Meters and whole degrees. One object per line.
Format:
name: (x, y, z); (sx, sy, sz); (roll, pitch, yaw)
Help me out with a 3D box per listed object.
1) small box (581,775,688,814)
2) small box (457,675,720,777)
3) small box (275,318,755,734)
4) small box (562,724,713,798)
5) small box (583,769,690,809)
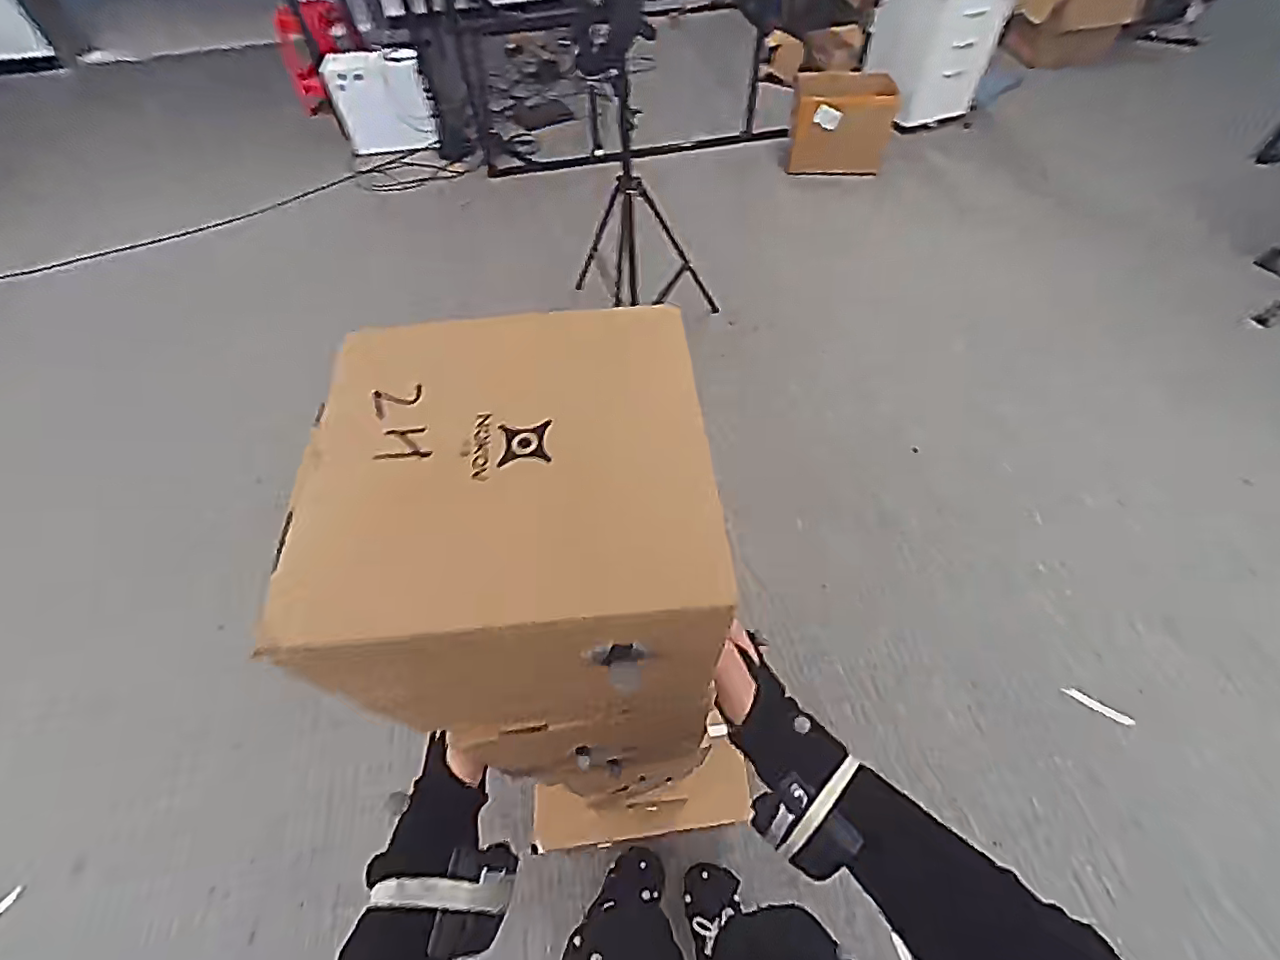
small box: (-0.011, 0.498, 0.976); (0.179, 0.176, 0.168); (-4, 56, -2)
small box: (-0.043, 0.124, 0.442); (0.168, 0.176, 0.179); (-10, 57, -5)
small box: (-0.050, 0.035, 0.304); (0.179, 0.176, 0.168); (-6, 56, -2)
small box: (-0.018, 0.304, 0.714); (0.179, 0.176, 0.168); (-11, 56, -7)
small box: (-0.022, 0.395, 0.850); (0.168, 0.176, 0.179); (-17, 56, -11)
